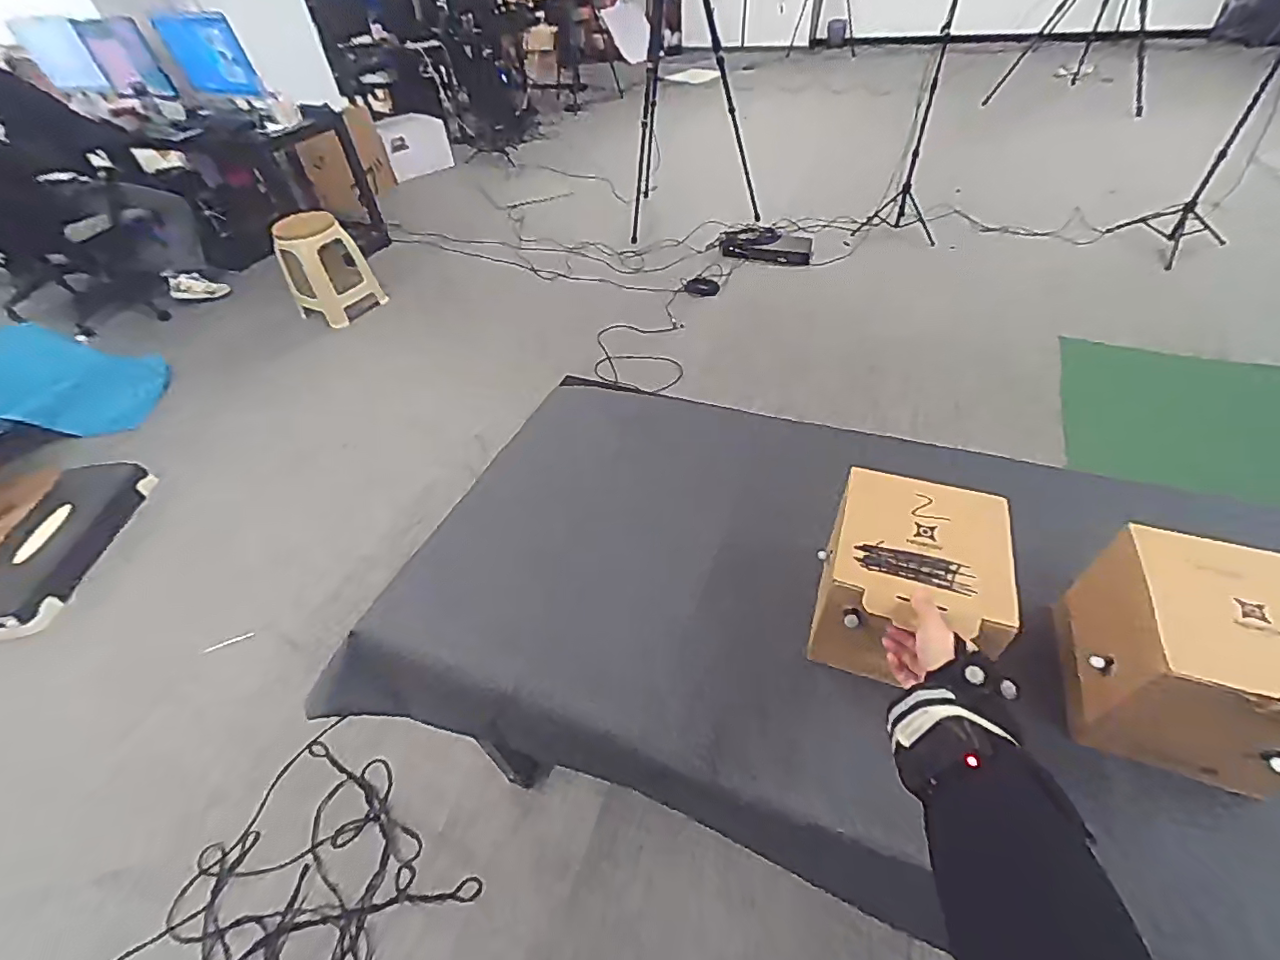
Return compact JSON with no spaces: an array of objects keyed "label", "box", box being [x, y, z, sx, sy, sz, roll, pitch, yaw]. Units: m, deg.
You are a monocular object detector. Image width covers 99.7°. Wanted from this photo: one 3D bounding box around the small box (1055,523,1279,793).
[{"label":"small box","box":[0.553,0.176,0.537,0.168,0.176,0.179,14,48,16]}]
